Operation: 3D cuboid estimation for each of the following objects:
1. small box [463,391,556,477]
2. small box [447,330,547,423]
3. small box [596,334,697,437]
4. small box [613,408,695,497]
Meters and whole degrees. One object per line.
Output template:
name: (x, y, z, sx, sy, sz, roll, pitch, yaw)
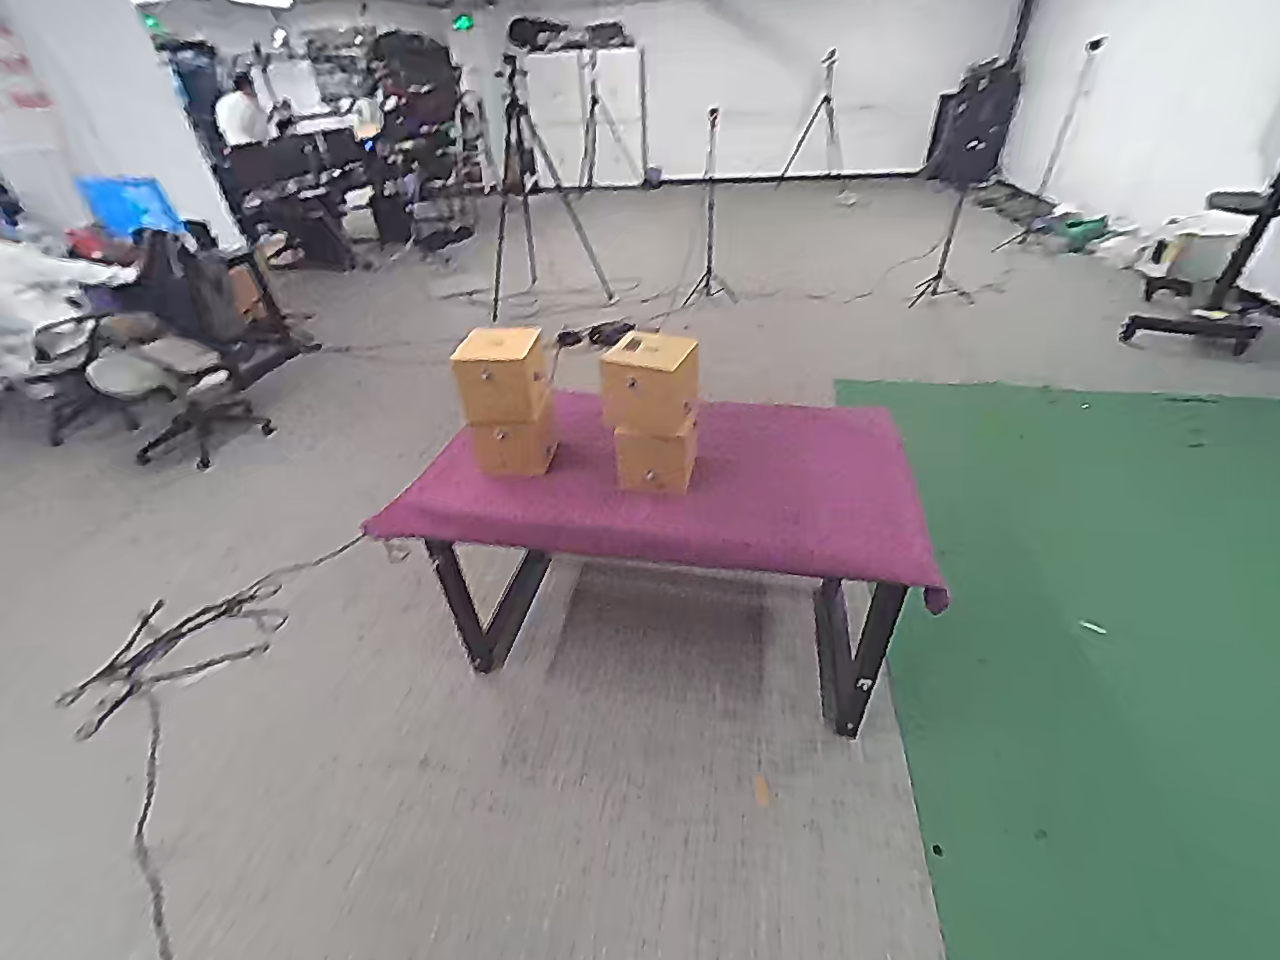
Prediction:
small box: (-0.328, -0.121, 1.399, 0.179, 0.176, 0.168, 2, 38, 7)
small box: (-0.332, -0.247, 1.298, 0.179, 0.176, 0.168, 0, 38, 6)
small box: (0.020, -0.214, 1.220, 0.179, 0.176, 0.168, 13, 40, 20)
small box: (0.039, -0.082, 1.318, 0.168, 0.176, 0.179, 5, 38, 12)
